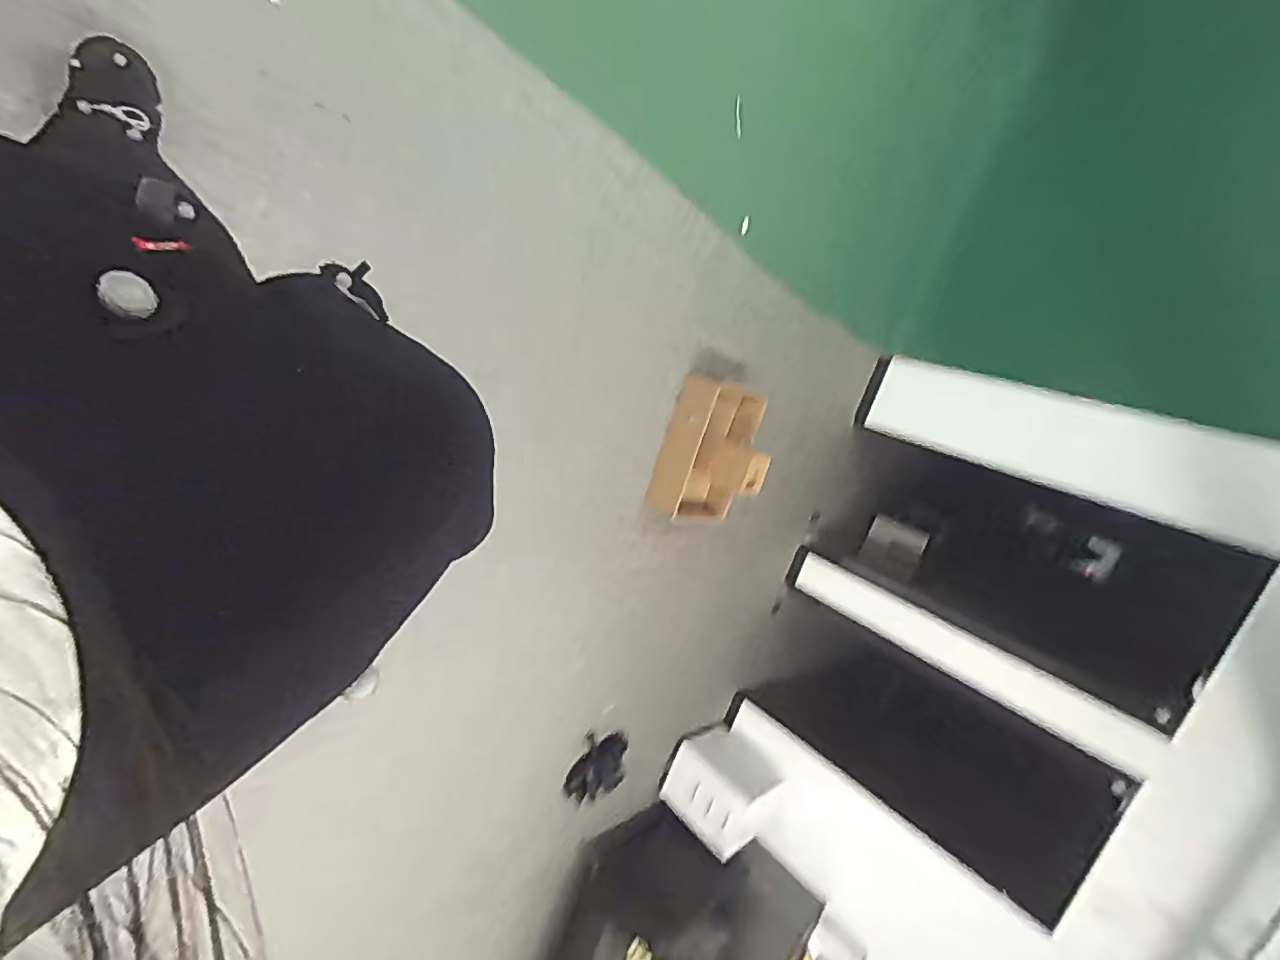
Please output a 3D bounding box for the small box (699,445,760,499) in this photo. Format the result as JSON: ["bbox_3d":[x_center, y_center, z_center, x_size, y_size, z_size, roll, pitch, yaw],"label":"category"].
[{"bbox_3d":[0.373,-0.033,2.285,0.168,0.176,0.179,4,107,-50],"label":"small box"}]

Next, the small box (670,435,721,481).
[{"bbox_3d":[0.258,-0.093,2.386,0.179,0.176,0.168,6,107,-52],"label":"small box"}]
